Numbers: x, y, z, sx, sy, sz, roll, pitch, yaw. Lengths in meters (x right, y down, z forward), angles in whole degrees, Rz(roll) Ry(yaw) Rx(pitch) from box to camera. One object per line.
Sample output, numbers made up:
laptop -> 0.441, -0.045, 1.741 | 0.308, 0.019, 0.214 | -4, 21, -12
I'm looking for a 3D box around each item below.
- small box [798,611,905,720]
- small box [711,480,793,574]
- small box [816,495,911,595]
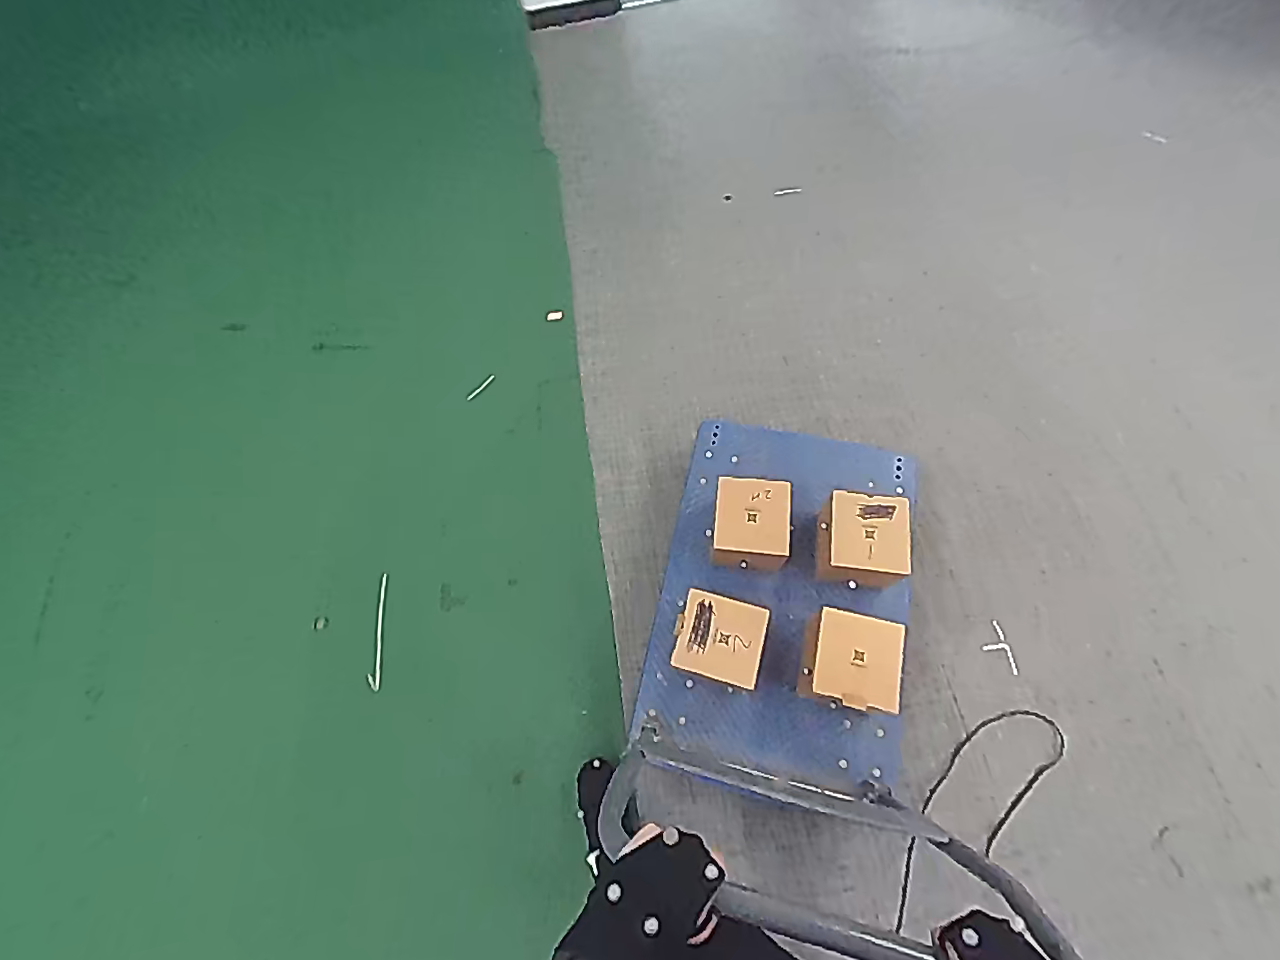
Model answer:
small box -> 0.444, 0.397, 1.153 | 0.168, 0.176, 0.179 | 12, 69, 9
small box -> 0.261, 0.118, 1.283 | 0.168, 0.176, 0.179 | 6, 68, 6
small box -> 0.510, 0.154, 1.248 | 0.168, 0.176, 0.179 | 7, 69, 8
